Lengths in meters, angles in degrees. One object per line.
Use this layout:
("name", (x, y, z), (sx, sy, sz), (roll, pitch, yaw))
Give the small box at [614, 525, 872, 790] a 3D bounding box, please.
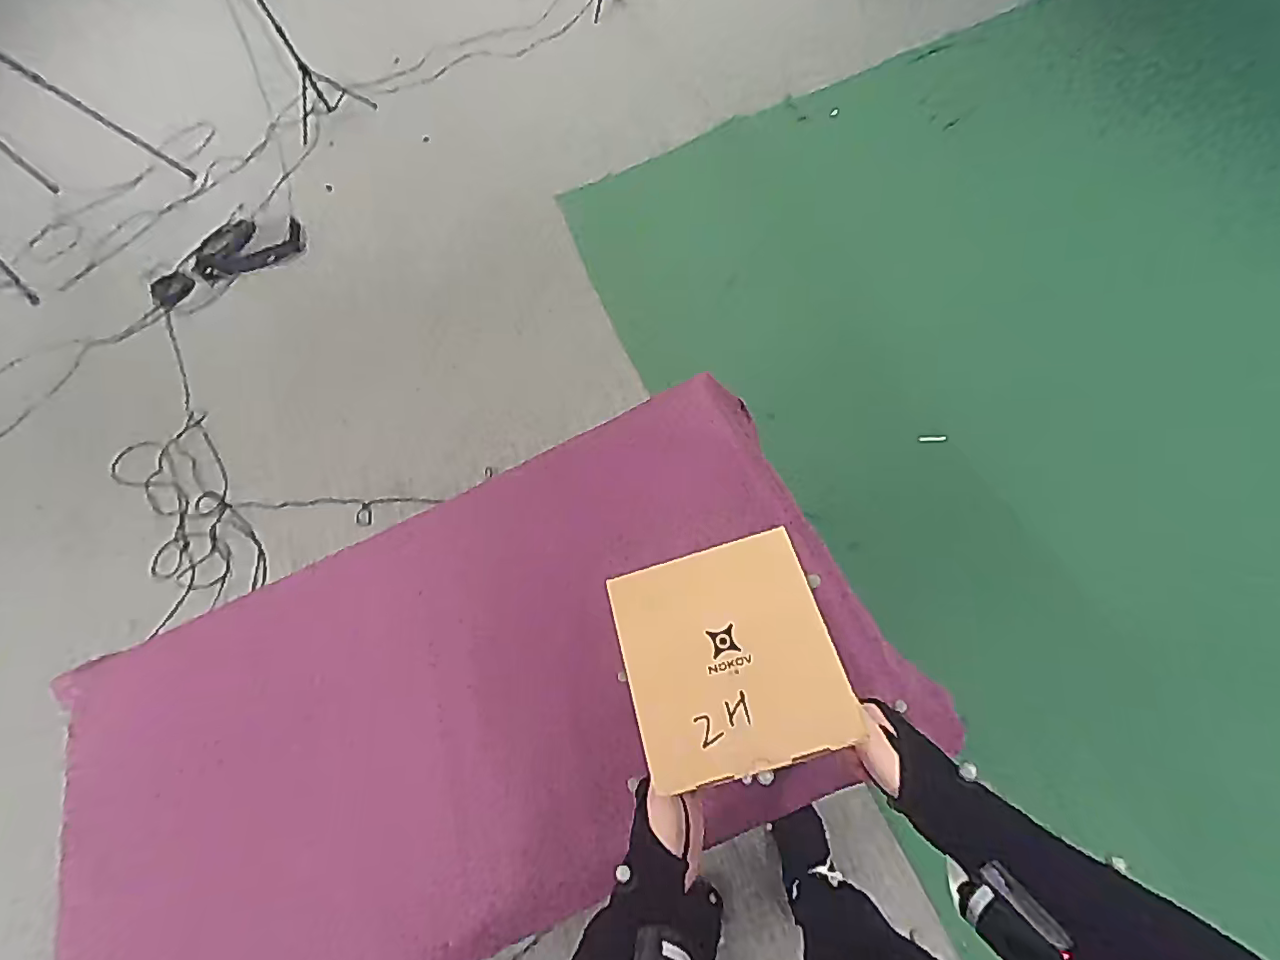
("small box", (0.086, 0.168, 0.502), (0.168, 0.176, 0.179), (-17, 63, 4))
